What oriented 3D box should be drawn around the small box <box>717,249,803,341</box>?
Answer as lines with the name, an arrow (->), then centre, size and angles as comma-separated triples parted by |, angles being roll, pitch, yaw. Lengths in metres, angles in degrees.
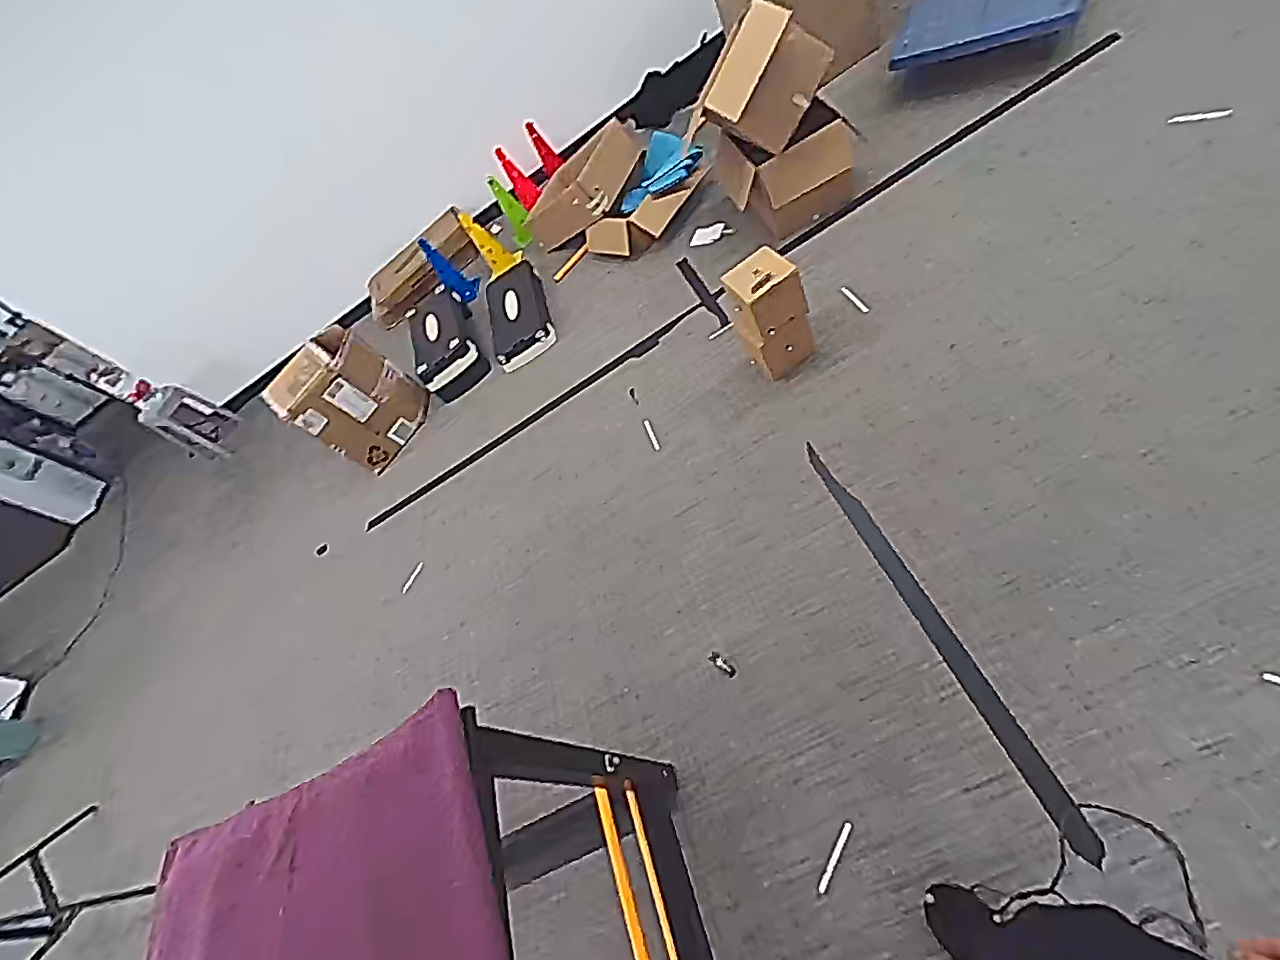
small box -> 0.364, -0.546, 1.619 | 0.168, 0.176, 0.179 | -35, 48, 6
